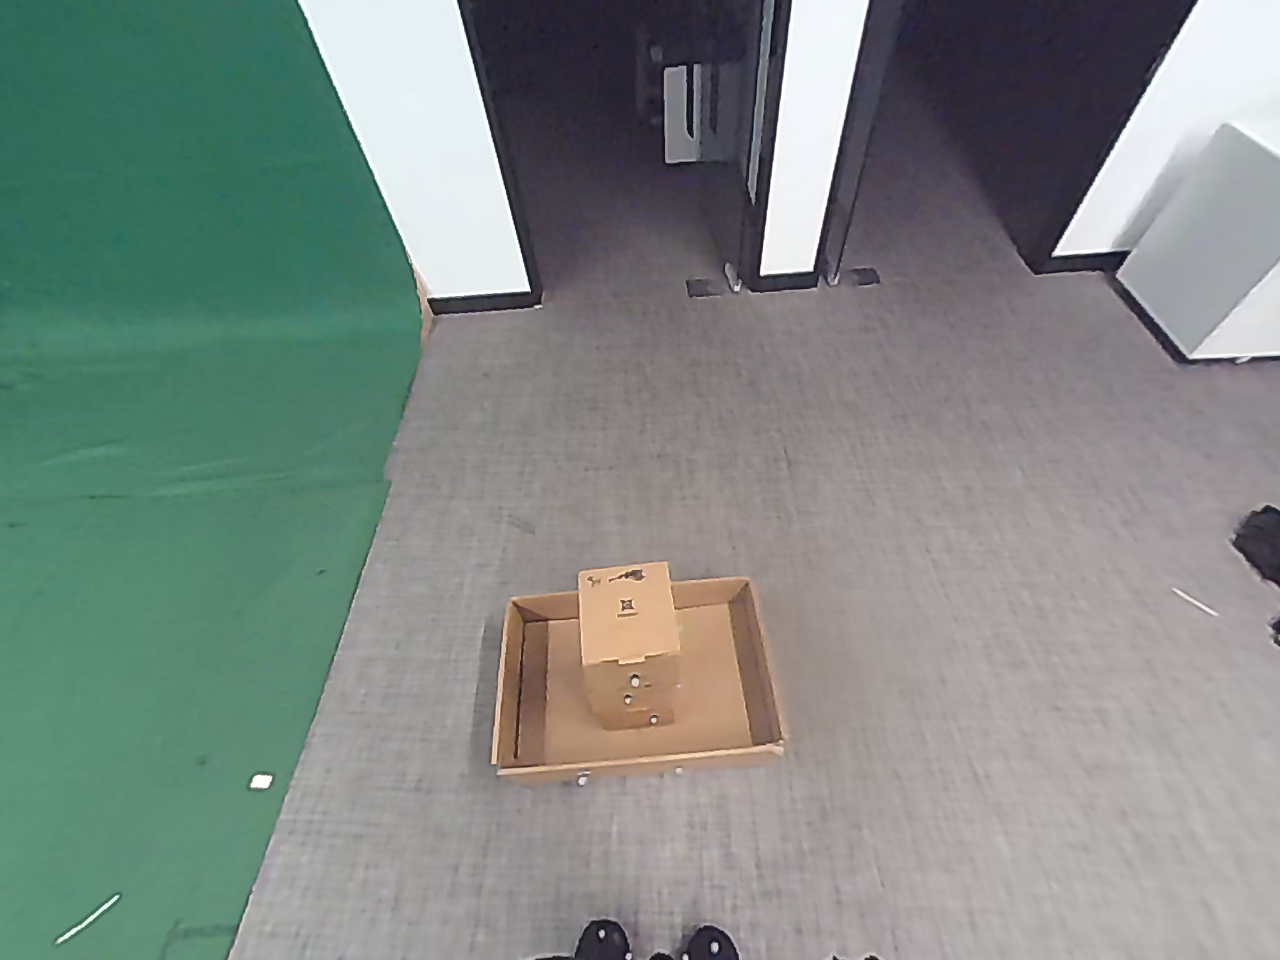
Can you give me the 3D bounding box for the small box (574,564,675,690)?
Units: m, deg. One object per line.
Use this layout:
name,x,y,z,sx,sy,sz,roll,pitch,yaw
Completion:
small box,-0.027,0.285,1.023,0.168,0.176,0.179,-9,52,-2

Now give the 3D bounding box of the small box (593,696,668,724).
small box,-0.022,0.463,1.275,0.168,0.176,0.179,-5,51,-1

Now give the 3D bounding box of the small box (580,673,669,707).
small box,-0.029,0.378,1.155,0.179,0.176,0.168,-4,52,1
